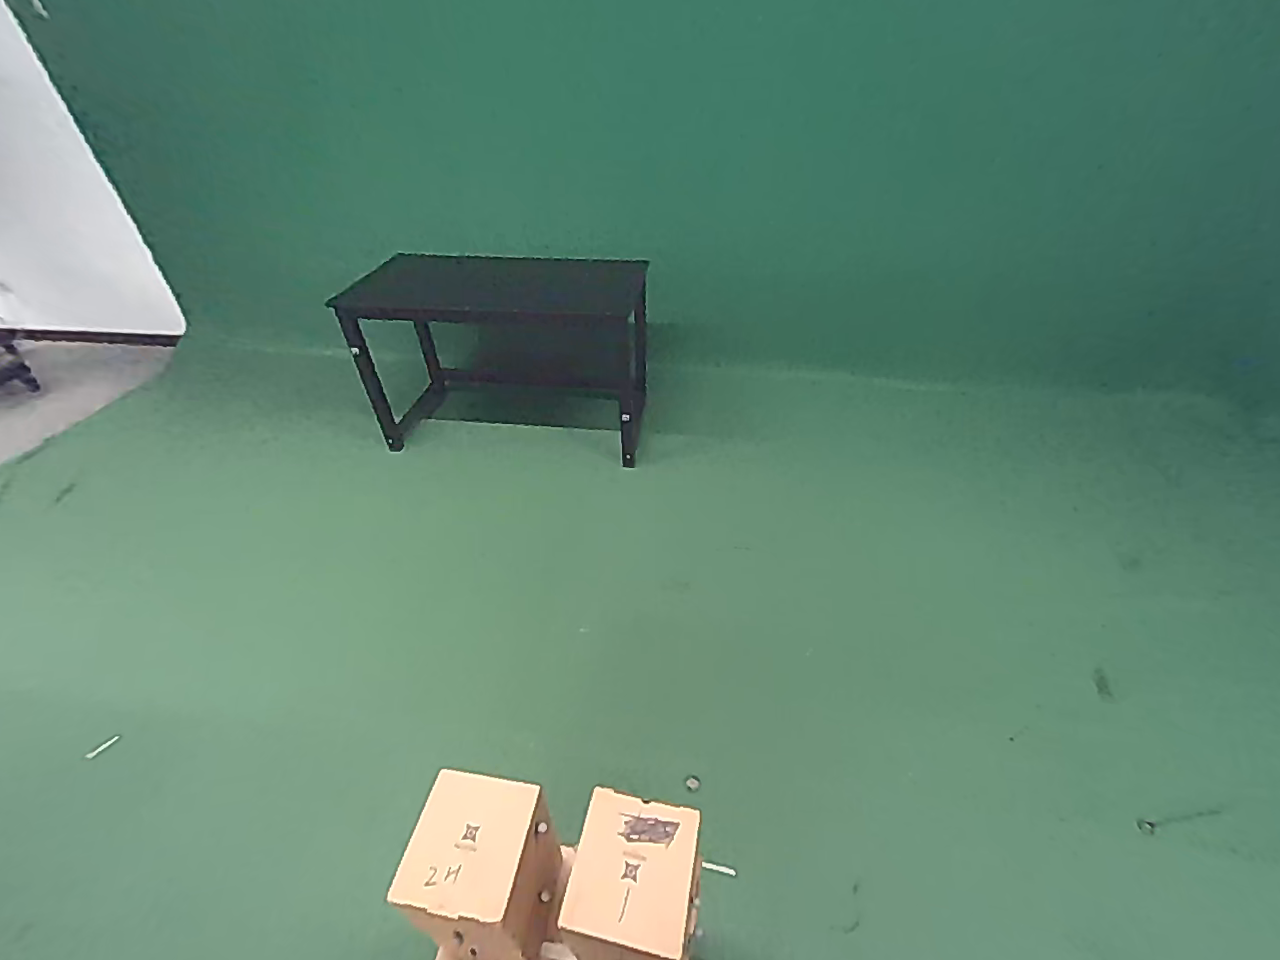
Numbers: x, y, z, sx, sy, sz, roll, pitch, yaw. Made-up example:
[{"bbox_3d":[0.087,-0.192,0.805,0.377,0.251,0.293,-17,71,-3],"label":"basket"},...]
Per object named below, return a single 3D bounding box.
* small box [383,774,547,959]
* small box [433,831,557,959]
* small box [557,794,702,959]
[{"bbox_3d":[-0.246,0.582,0.814,0.168,0.176,0.179,5,39,8],"label":"small box"},{"bbox_3d":[-0.244,0.709,0.919,0.168,0.176,0.179,6,39,9],"label":"small box"},{"bbox_3d":[-0.006,0.596,0.781,0.168,0.176,0.179,6,40,12],"label":"small box"}]
